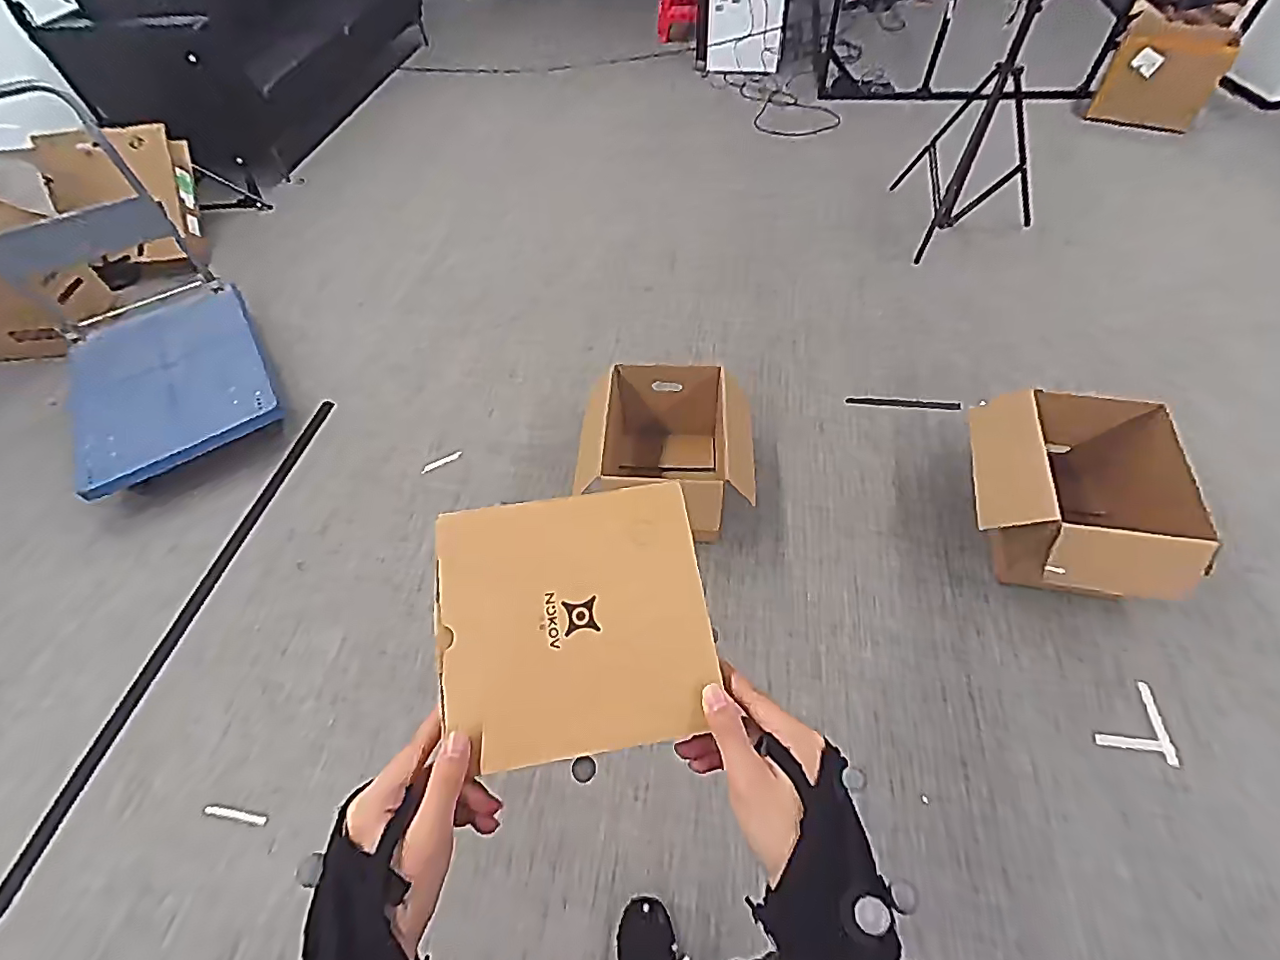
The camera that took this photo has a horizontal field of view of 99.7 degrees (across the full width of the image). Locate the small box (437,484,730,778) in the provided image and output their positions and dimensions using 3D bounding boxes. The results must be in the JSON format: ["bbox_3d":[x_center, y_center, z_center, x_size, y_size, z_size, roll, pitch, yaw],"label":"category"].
[{"bbox_3d":[-0.044,0.117,0.425,0.179,0.176,0.168,-9,69,-4],"label":"small box"}]
